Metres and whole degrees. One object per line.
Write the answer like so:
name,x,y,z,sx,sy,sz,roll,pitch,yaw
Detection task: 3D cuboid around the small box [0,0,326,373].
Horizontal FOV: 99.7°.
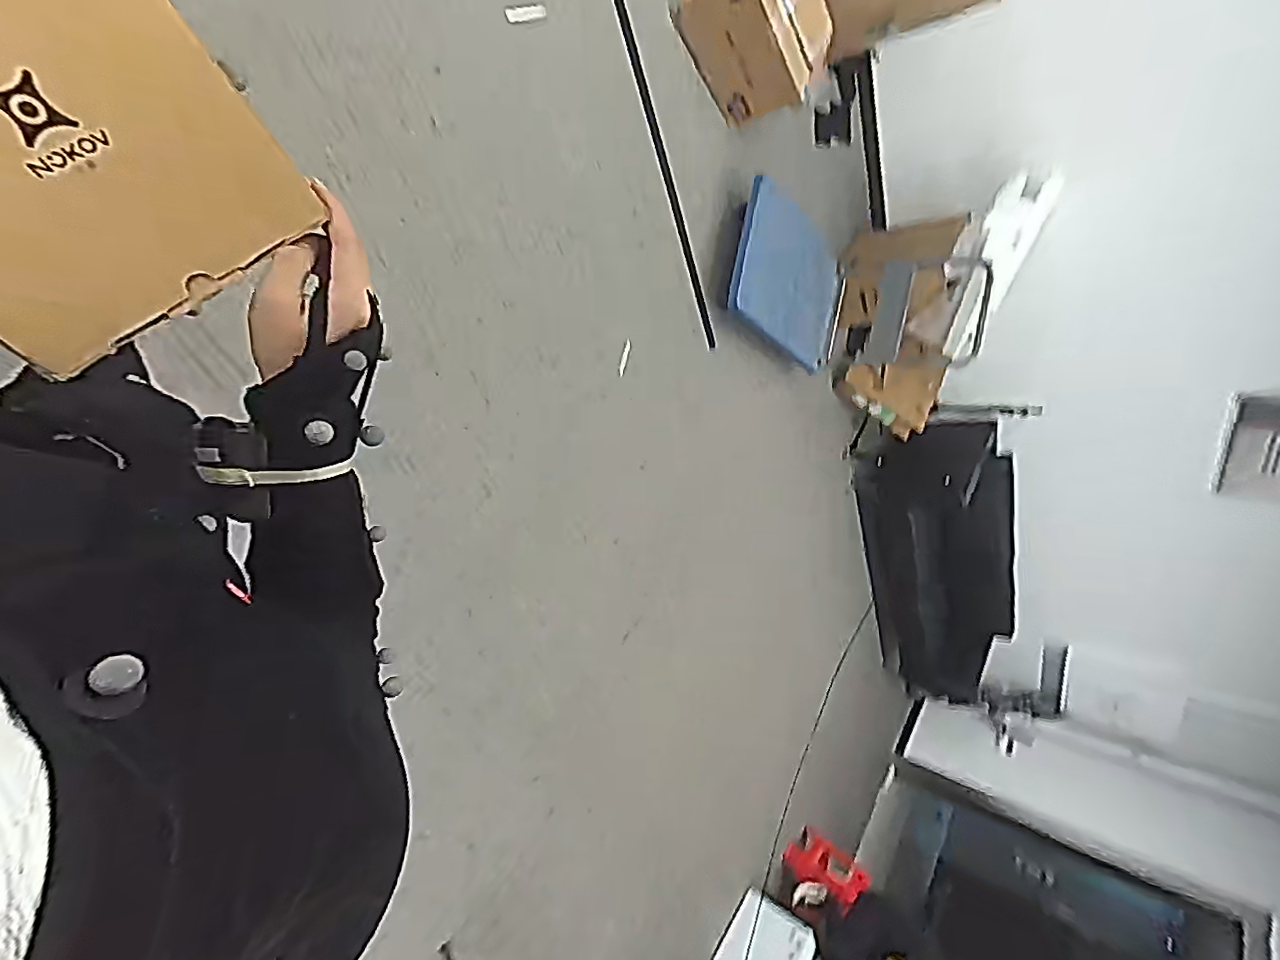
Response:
small box,-0.328,-0.187,0.306,0.168,0.176,0.179,-46,133,-18
